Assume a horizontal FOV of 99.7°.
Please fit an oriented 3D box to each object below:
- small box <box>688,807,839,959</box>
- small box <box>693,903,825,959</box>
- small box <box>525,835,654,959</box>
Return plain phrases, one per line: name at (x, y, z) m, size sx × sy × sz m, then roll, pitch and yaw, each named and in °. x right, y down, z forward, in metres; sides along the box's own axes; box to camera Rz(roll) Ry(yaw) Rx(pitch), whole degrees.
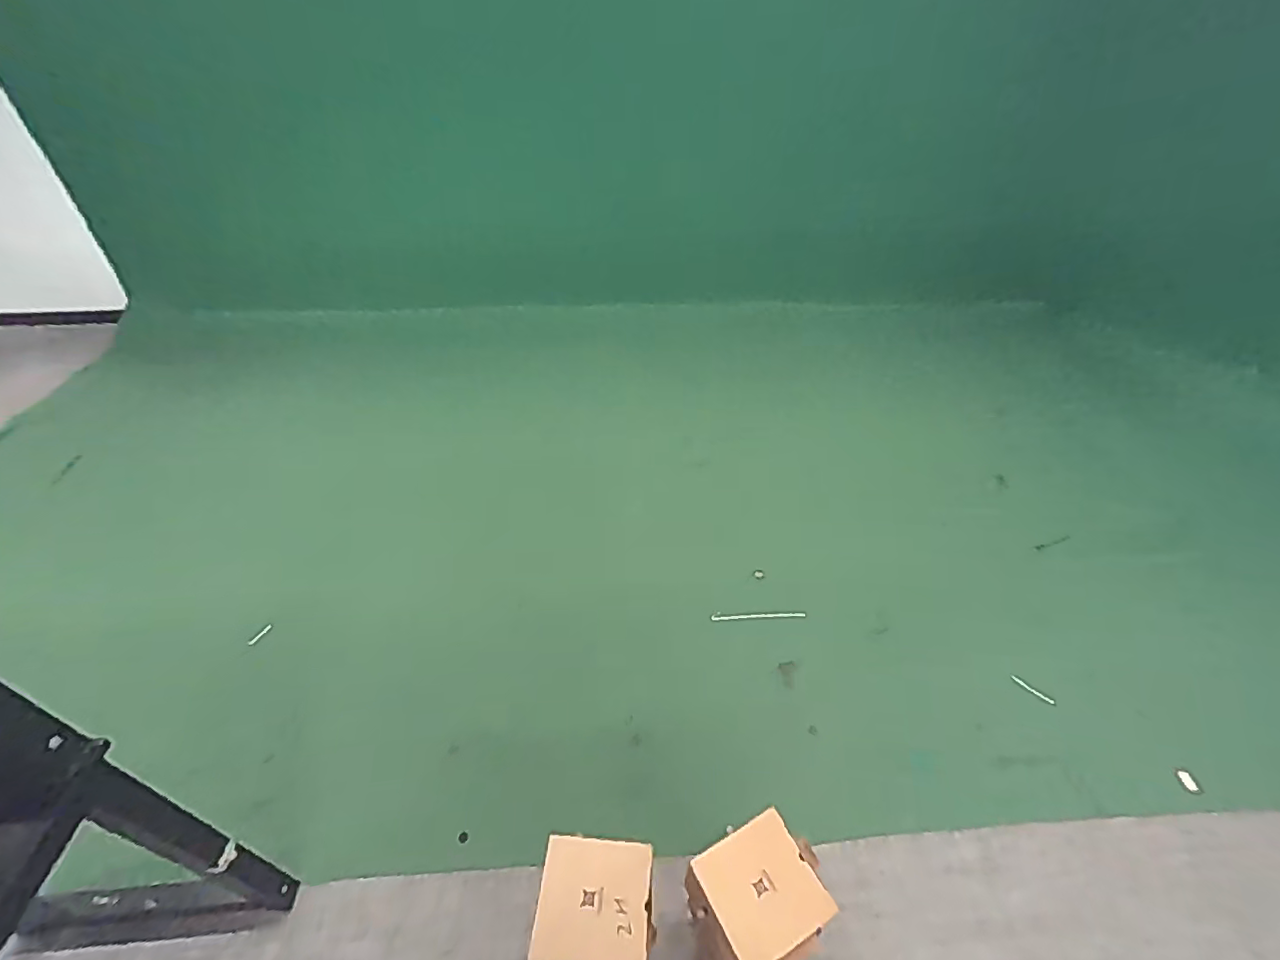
small box at (0.192, 0.692, 0.895) m, size 0.179 × 0.176 × 0.168 m, roll -19°, pitch 46°, yaw -22°
small box at (0.207, 0.816, 1.001) m, size 0.179 × 0.176 × 0.168 m, roll -16°, pitch 46°, yaw -18°
small box at (-0.070, 0.702, 0.875) m, size 0.179 × 0.176 × 0.168 m, roll 3°, pitch 42°, yaw 4°
